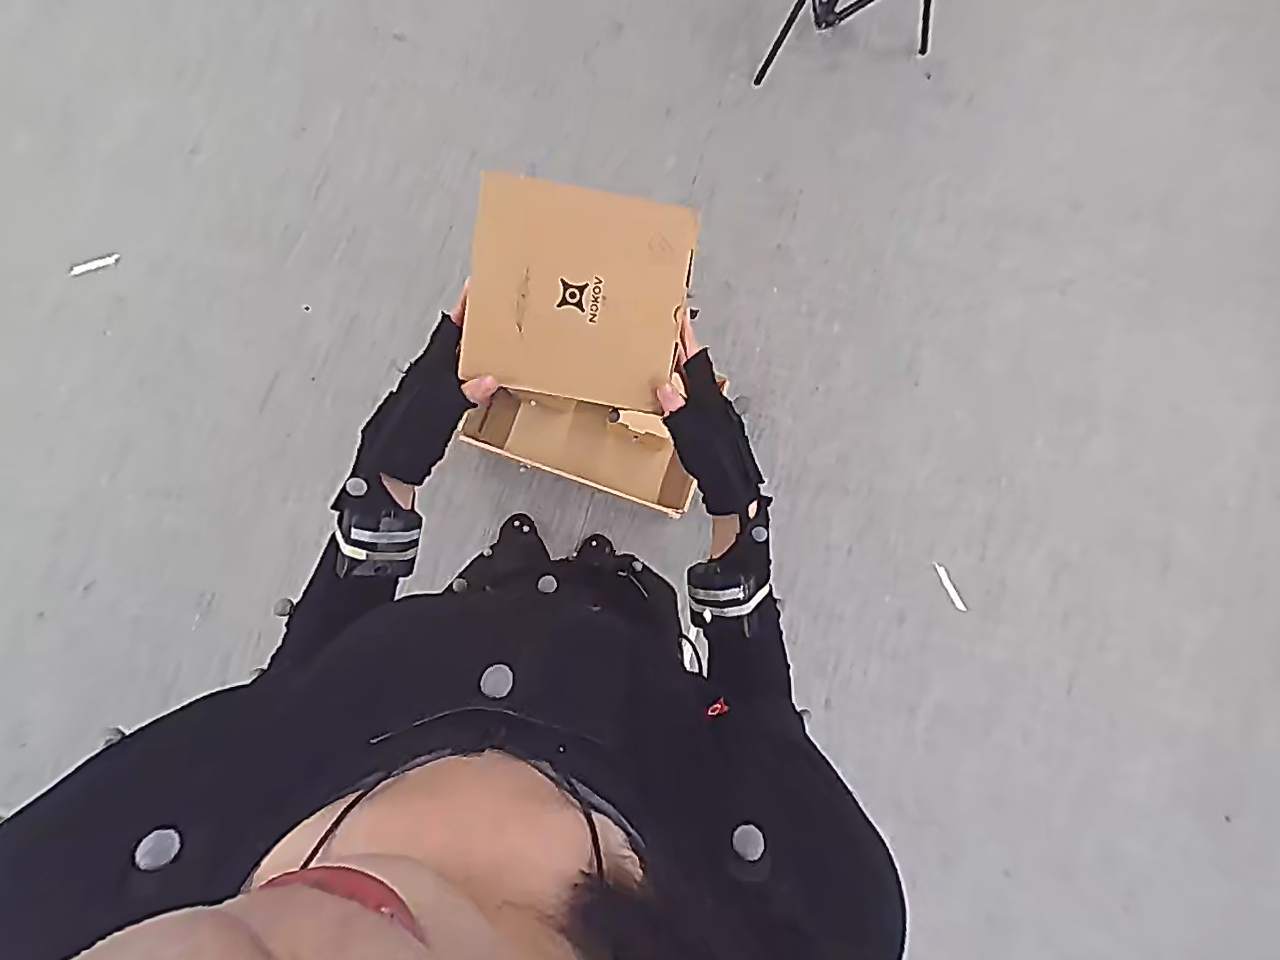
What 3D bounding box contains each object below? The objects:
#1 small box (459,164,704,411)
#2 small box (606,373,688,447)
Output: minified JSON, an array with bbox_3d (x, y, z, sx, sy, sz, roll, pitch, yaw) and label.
[{"bbox_3d":[-0.050,-0.160,0.505,0.179,0.176,0.168,8,96,-2],"label":"small box"},{"bbox_3d":[0.019,-0.201,1.446,0.168,0.176,0.179,21,84,1],"label":"small box"}]
